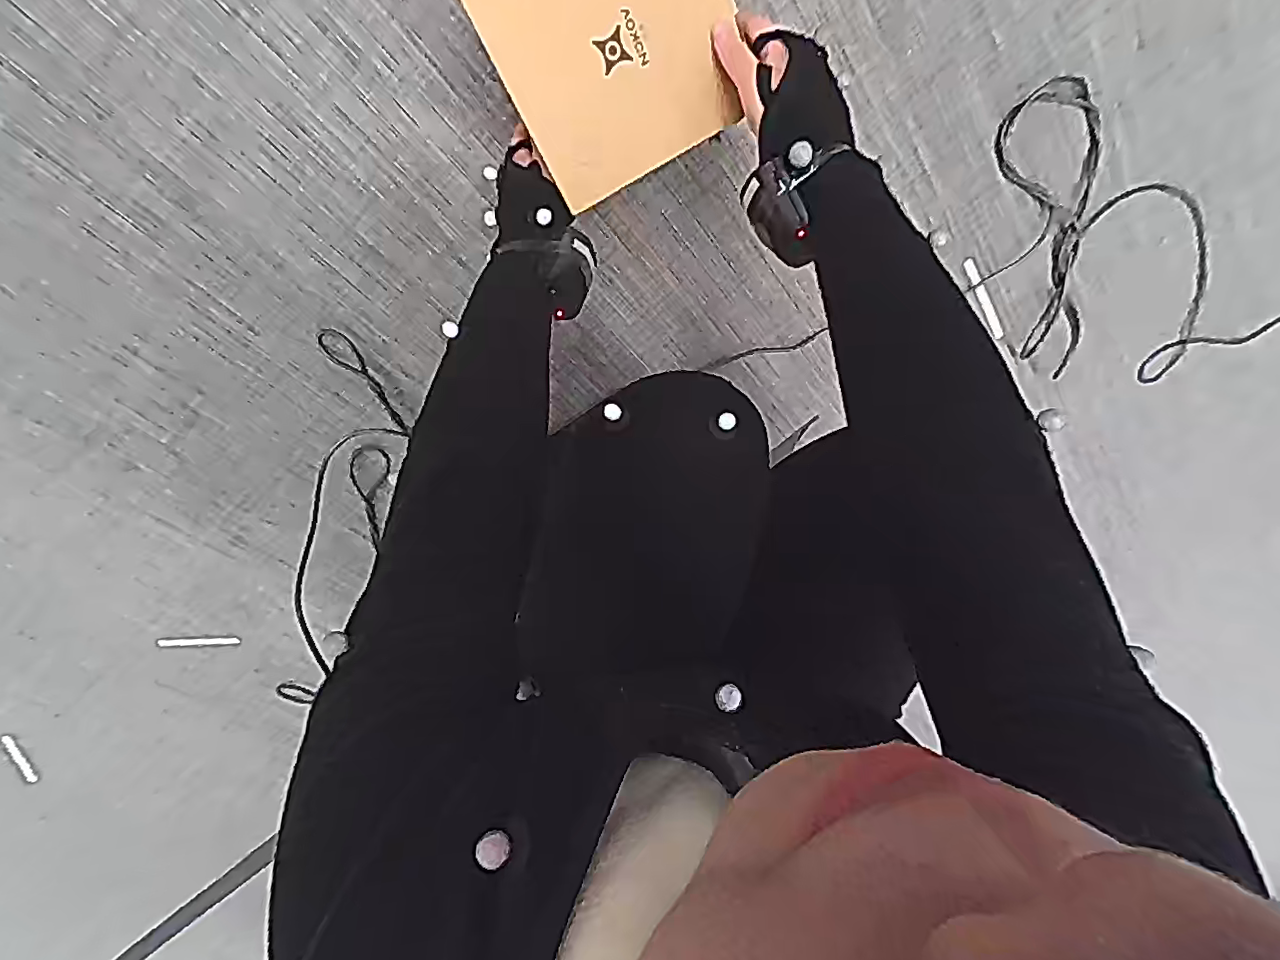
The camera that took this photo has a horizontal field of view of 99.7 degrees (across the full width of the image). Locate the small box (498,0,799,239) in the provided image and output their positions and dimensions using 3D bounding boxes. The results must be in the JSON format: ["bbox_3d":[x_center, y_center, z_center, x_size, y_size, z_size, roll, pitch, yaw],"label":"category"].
[{"bbox_3d":[-0.002,-0.336,0.430,0.168,0.176,0.179,-36,103,-7],"label":"small box"}]
